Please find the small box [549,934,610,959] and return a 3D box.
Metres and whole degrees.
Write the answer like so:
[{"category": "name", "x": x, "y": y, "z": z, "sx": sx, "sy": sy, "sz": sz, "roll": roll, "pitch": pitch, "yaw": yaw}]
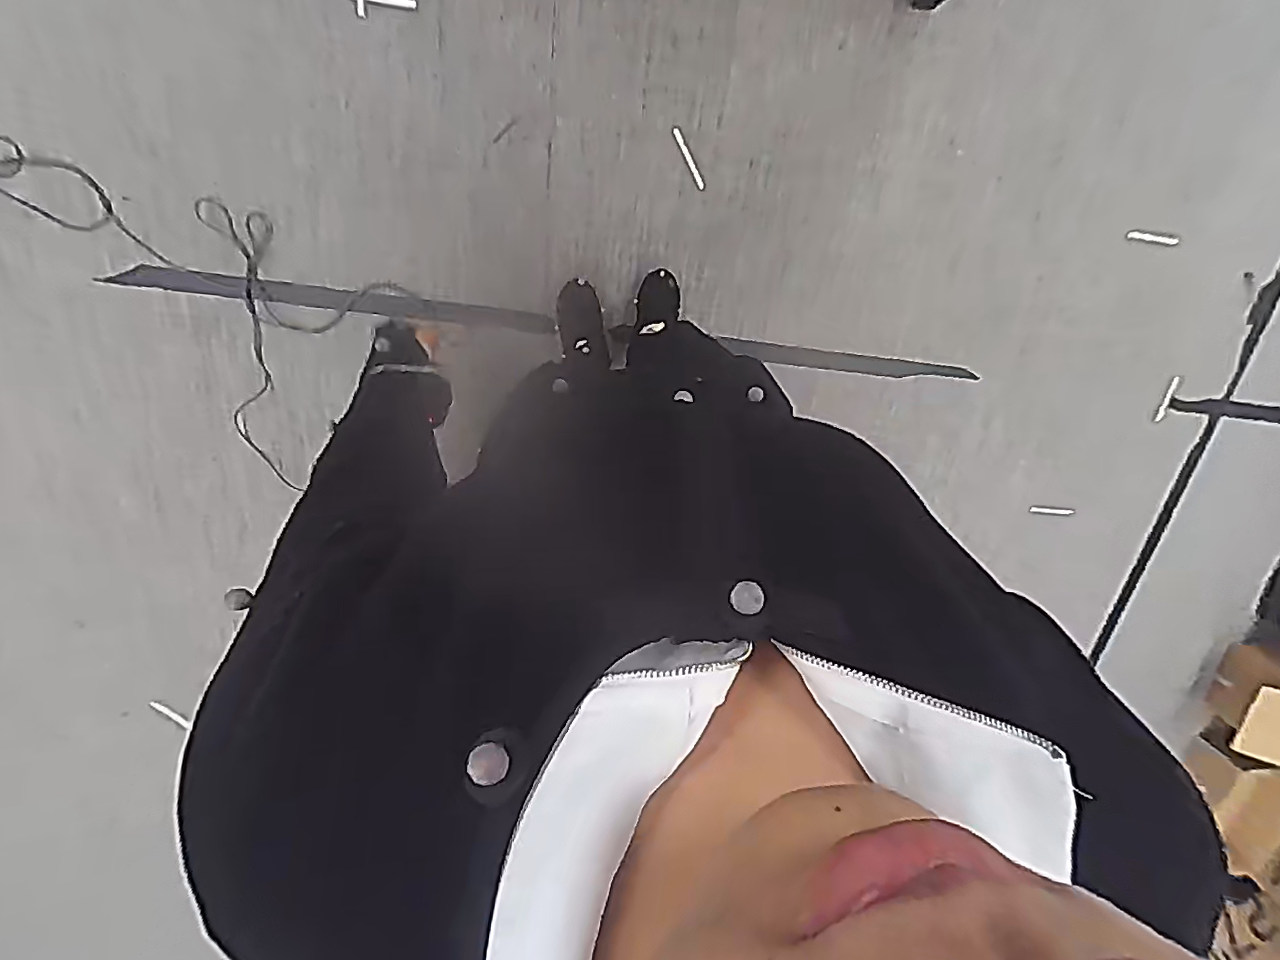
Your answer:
[{"category": "small box", "x": -0.166, "y": 1.377, "z": 1.460, "sx": 0.168, "sy": 0.176, "sz": 0.179, "roll": 3, "pitch": 109, "yaw": -9}]
